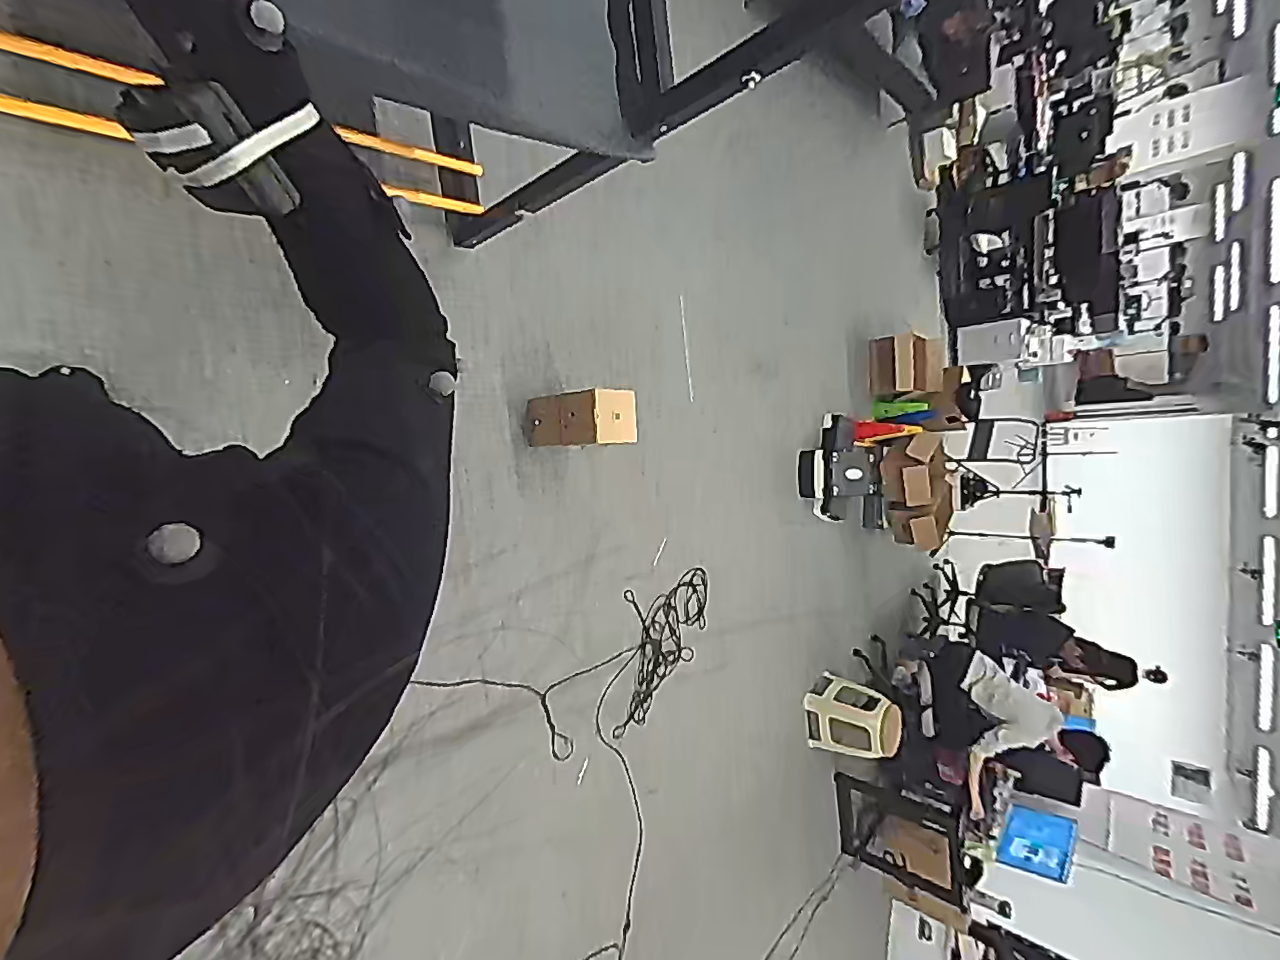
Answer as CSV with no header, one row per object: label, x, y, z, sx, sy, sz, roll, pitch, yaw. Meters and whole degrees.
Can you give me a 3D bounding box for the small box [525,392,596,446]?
small box,-0.268,-0.203,1.831,0.179,0.176,0.168,-5,93,-46
